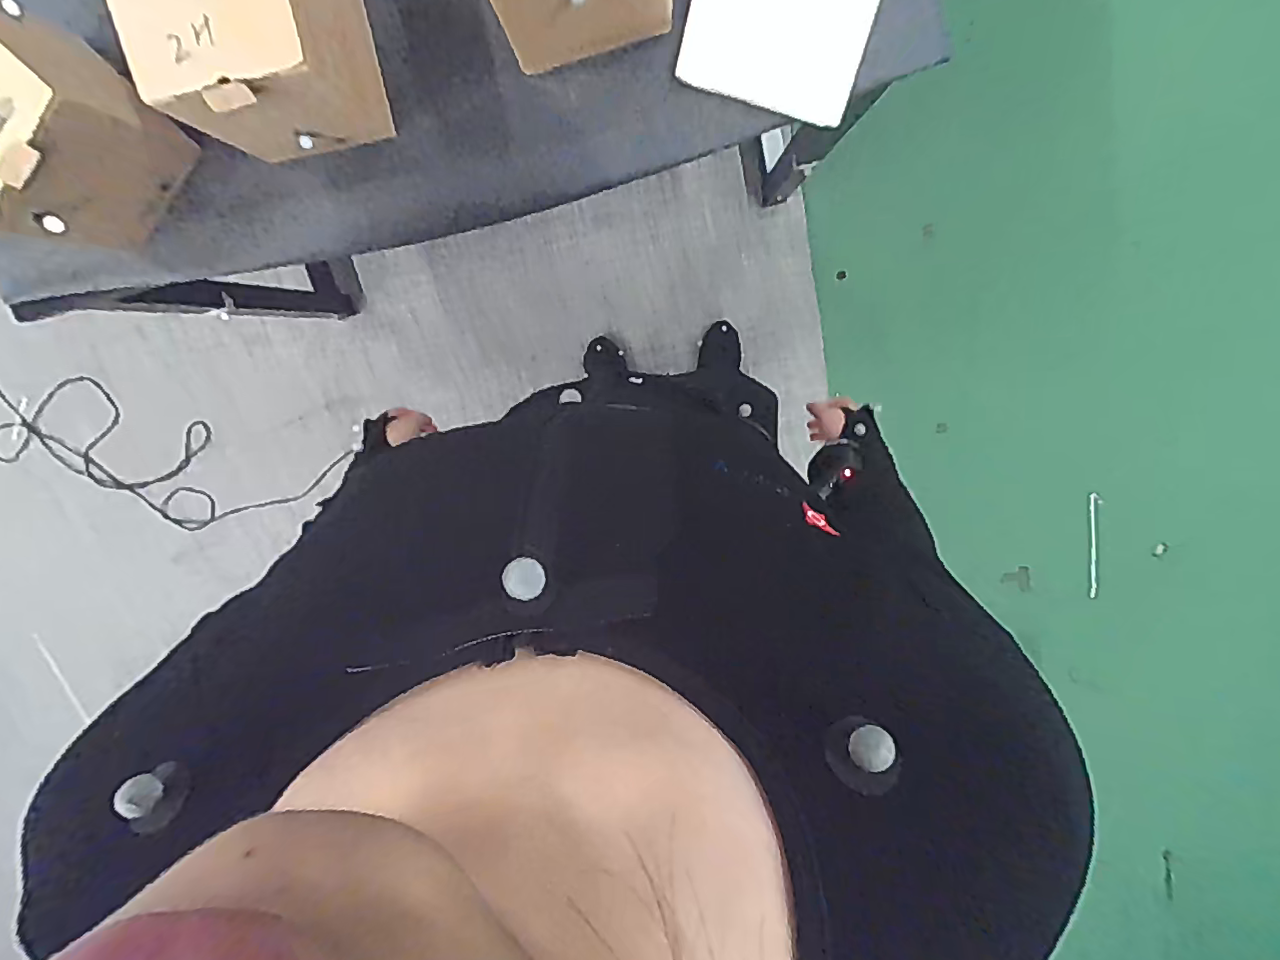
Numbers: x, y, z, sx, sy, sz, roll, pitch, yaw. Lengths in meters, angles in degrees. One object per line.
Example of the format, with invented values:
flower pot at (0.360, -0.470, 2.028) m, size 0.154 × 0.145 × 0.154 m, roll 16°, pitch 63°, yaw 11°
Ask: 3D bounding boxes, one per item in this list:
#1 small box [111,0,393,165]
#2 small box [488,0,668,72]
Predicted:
small box at (-0.388, -0.459, 0.556) m, size 0.168 × 0.176 × 0.179 m, roll -9°, pitch 103°, yaw 6°
small box at (-0.070, -0.542, 0.521) m, size 0.179 × 0.176 × 0.168 m, roll -13°, pitch 103°, yaw 7°
